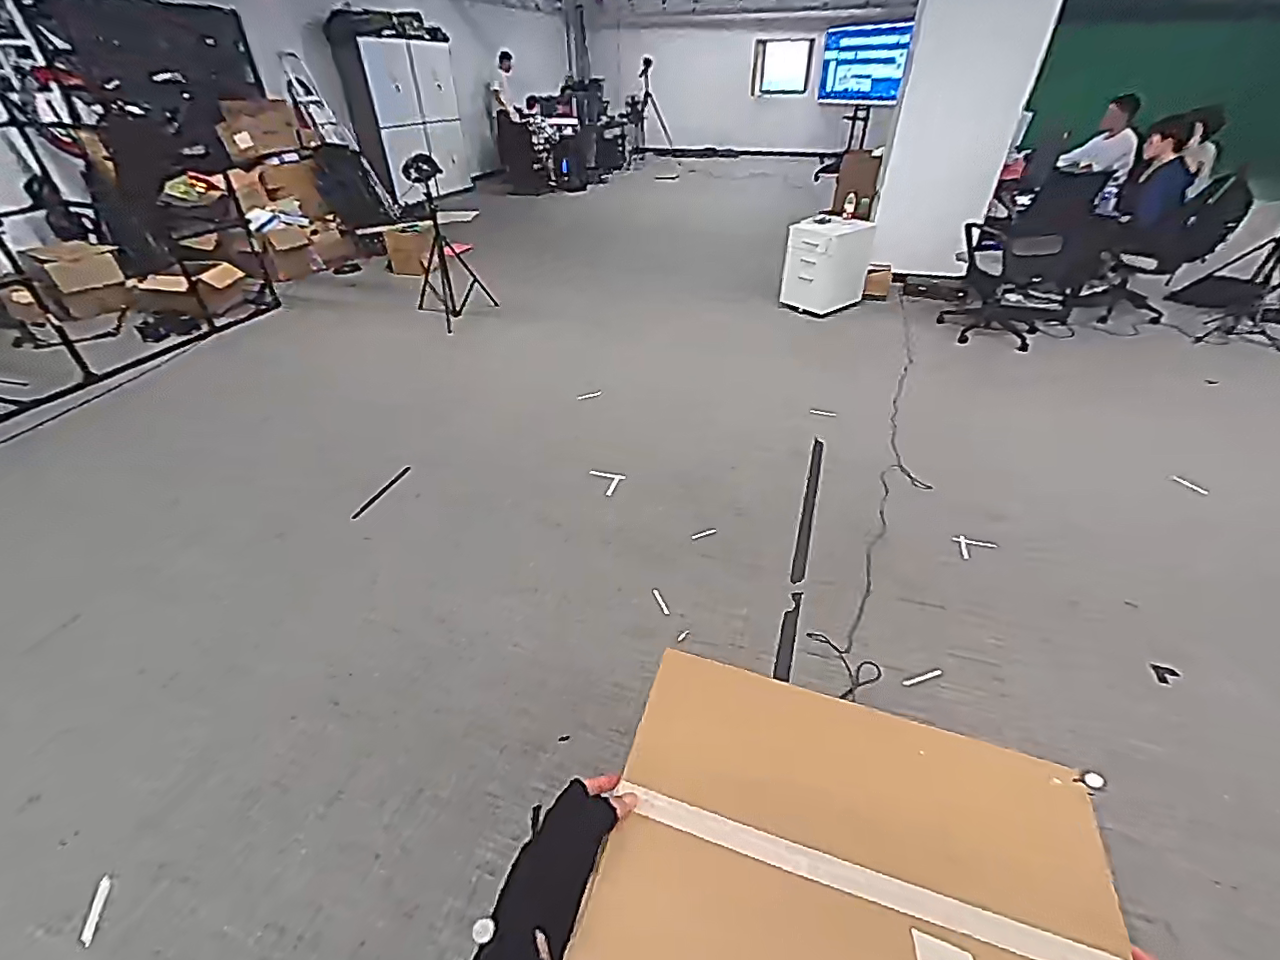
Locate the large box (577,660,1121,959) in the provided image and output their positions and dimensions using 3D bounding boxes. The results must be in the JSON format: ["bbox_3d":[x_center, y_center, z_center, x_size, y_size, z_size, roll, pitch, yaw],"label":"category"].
[{"bbox_3d":[0.171,0.446,0.545,0.408,0.320,0.320,13,43,13],"label":"large box"}]
